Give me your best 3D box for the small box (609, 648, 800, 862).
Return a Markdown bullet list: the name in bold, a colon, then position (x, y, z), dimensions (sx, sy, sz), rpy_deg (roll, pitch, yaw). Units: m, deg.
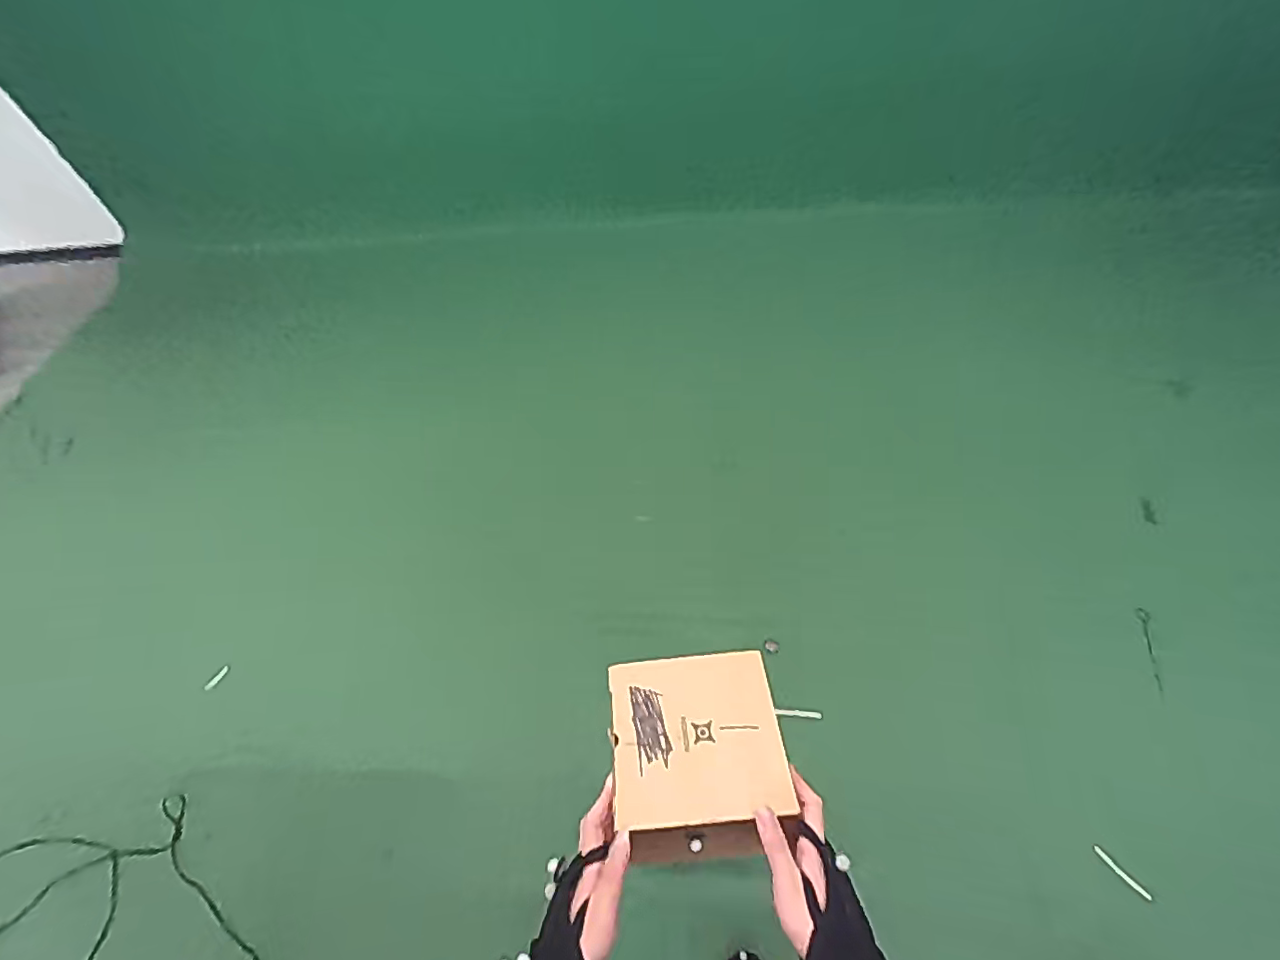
- **small box**: position (0.063, 0.310, 0.606), dimensions (0.179, 0.176, 0.168), rpy_deg (-5, 46, -1)
